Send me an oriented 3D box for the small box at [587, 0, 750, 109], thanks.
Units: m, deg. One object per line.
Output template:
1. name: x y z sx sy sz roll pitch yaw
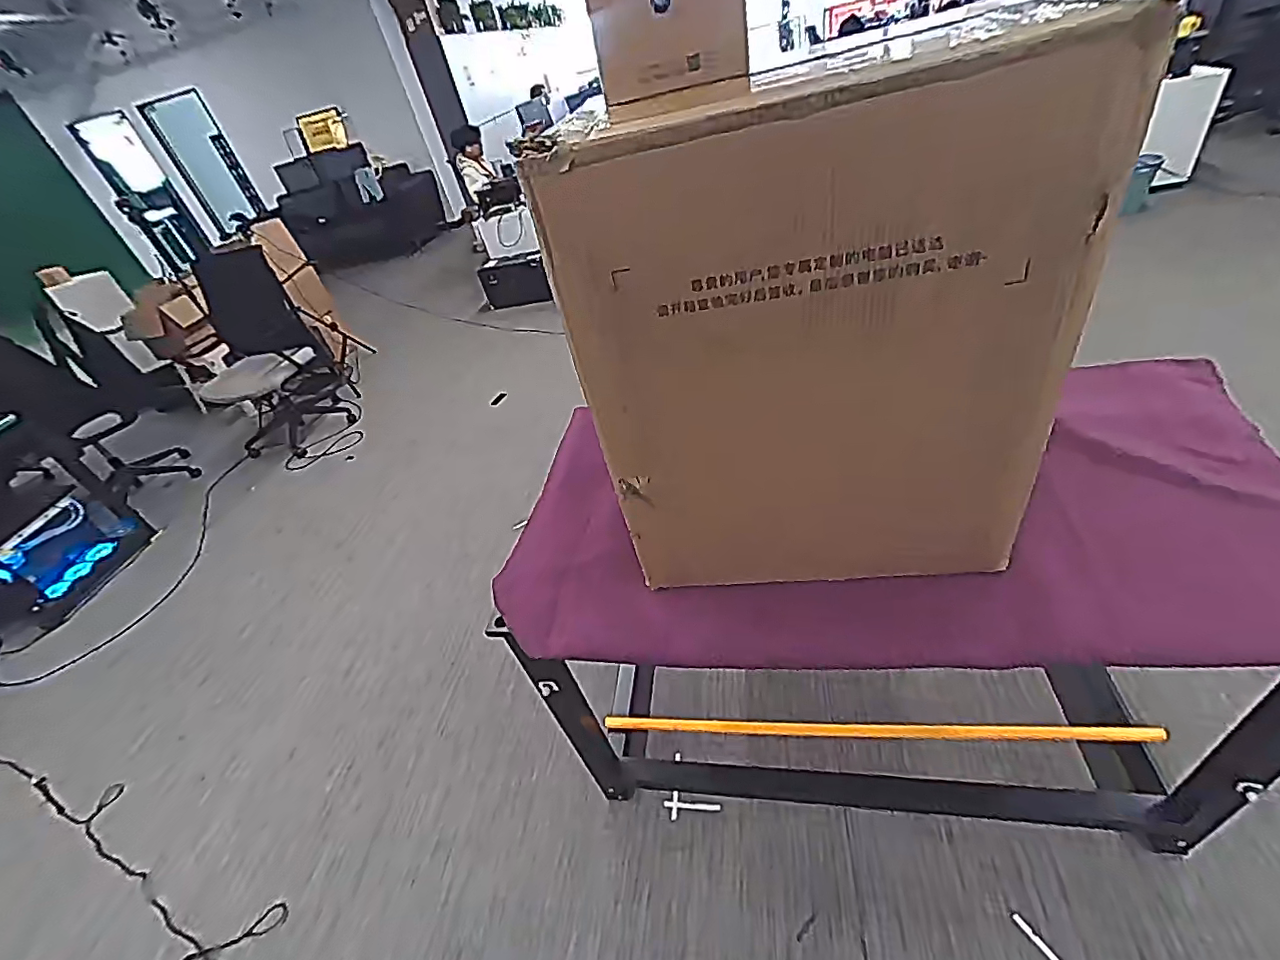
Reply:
1. small box: 0.030 -0.544 0.619 0.168 0.176 0.179 -8 39 7
